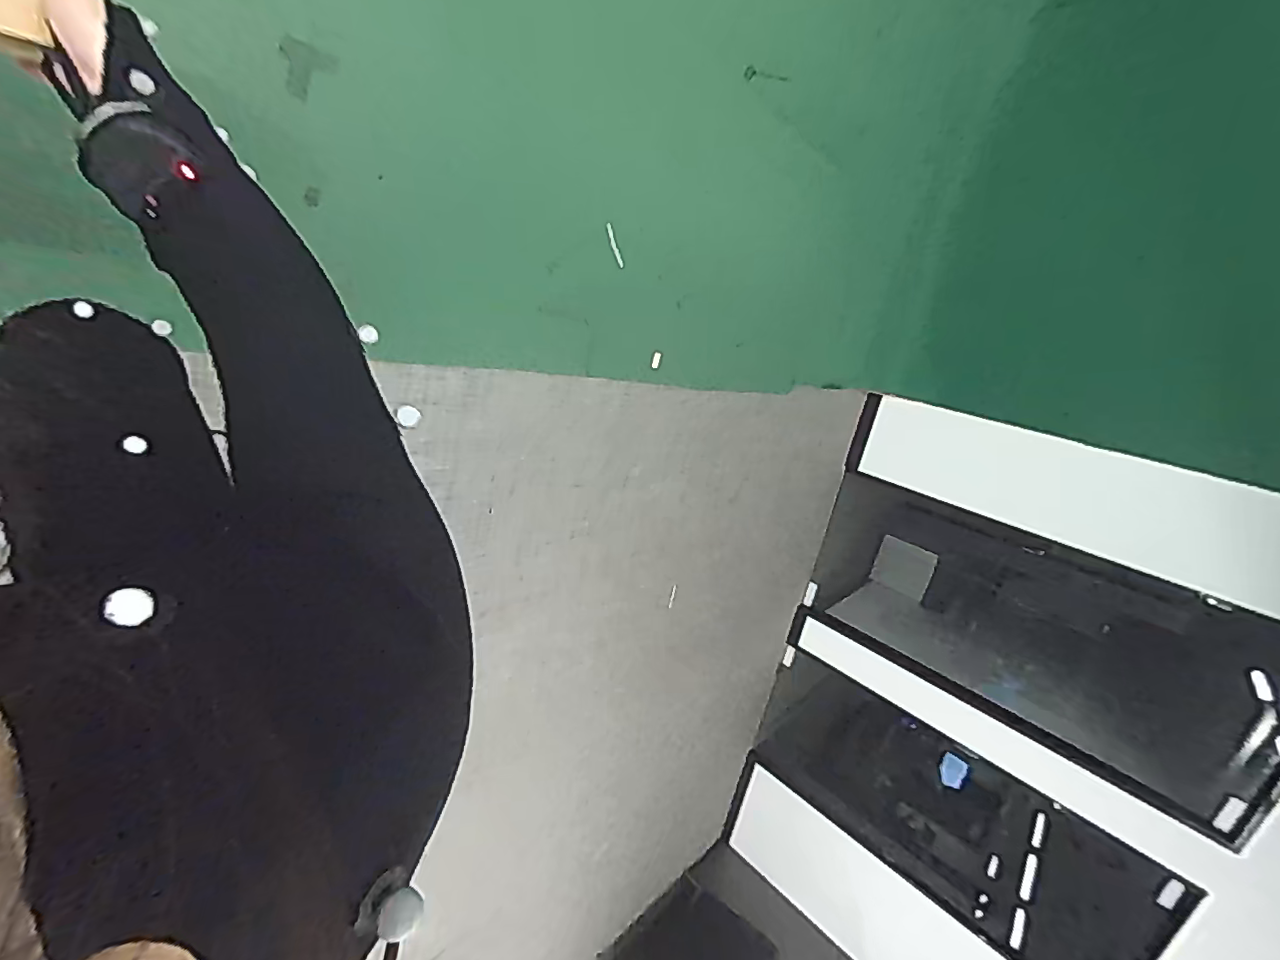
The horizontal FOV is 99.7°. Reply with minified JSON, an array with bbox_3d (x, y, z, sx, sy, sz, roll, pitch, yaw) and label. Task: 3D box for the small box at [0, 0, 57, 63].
[{"bbox_3d":[-0.483,-0.378,0.318,0.168,0.176,0.179,-14,123,-48],"label":"small box"}]
